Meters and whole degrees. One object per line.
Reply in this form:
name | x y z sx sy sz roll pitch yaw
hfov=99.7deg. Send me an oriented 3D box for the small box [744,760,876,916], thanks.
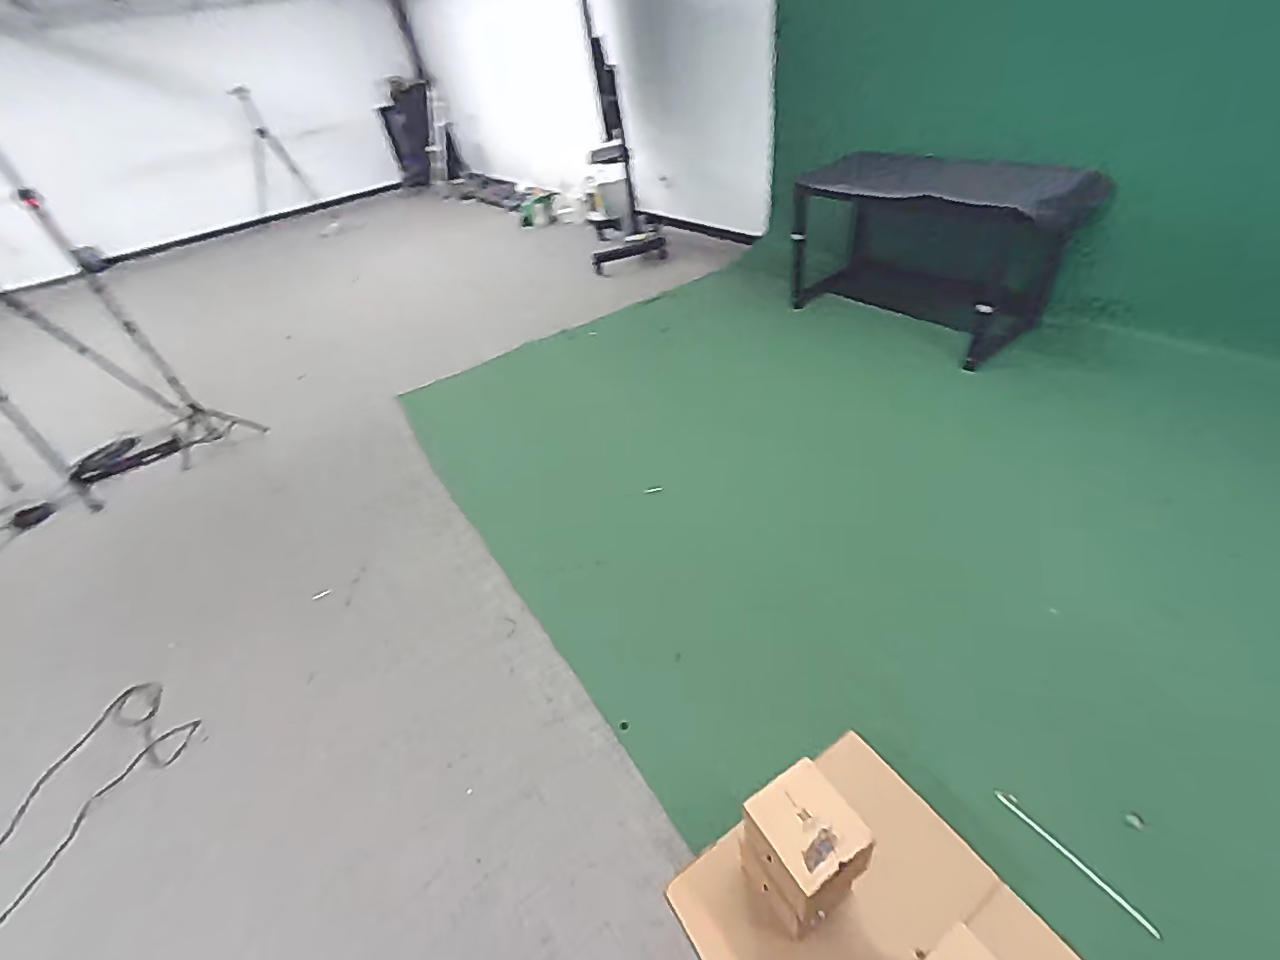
small box | 0.321 0.691 1.038 0.168 0.176 0.179 -25 39 -18
